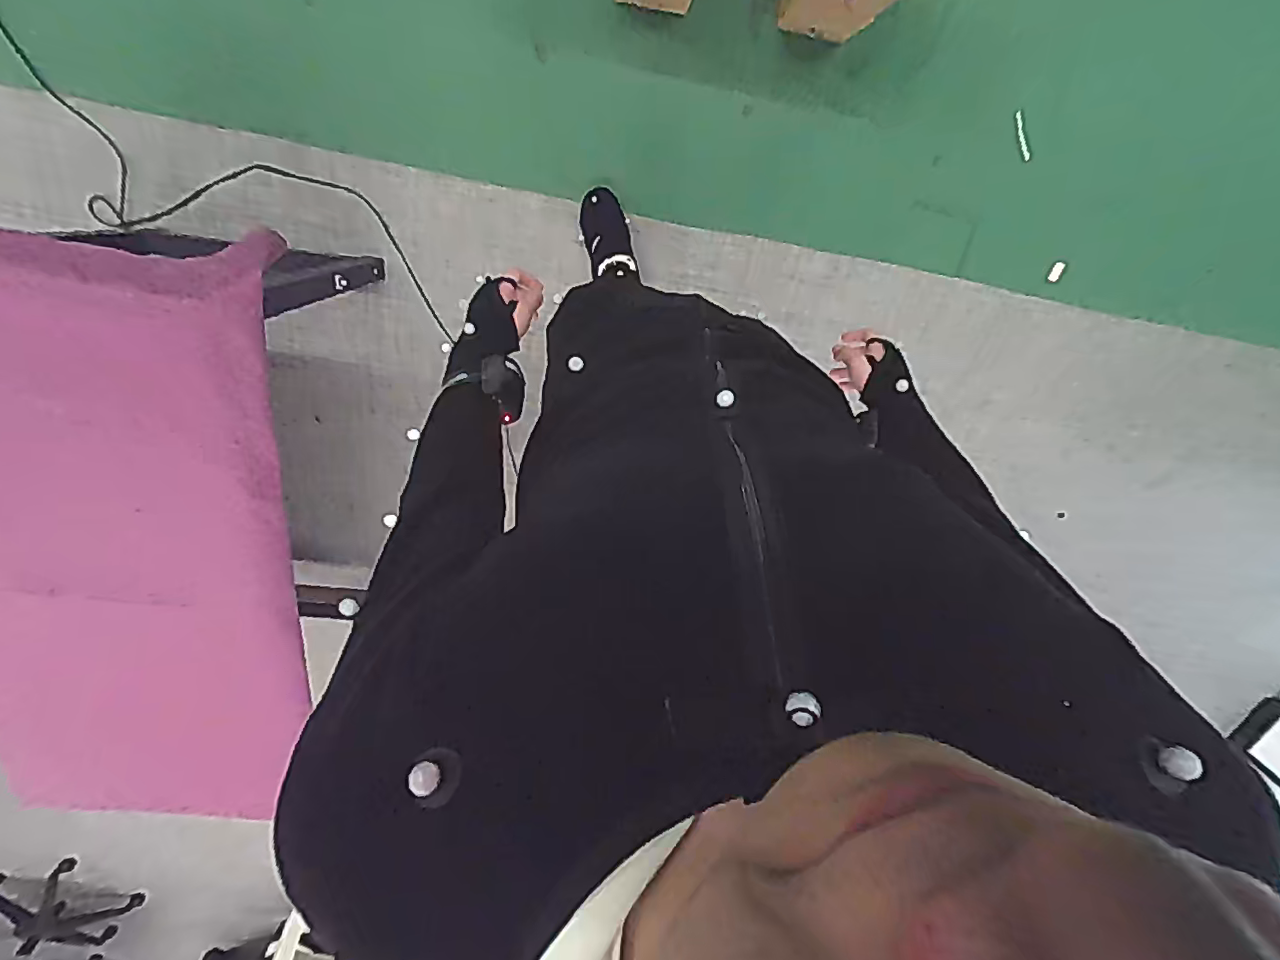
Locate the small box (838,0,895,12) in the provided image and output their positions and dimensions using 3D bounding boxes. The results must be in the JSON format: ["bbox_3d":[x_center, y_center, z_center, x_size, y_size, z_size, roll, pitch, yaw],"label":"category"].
[{"bbox_3d":[0.420,-0.982,0.968,0.168,0.176,0.179,9,118,-8],"label":"small box"}]

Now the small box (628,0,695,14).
[{"bbox_3d":[0.047,-1.082,1.087,0.168,0.176,0.179,6,115,-5],"label":"small box"}]
